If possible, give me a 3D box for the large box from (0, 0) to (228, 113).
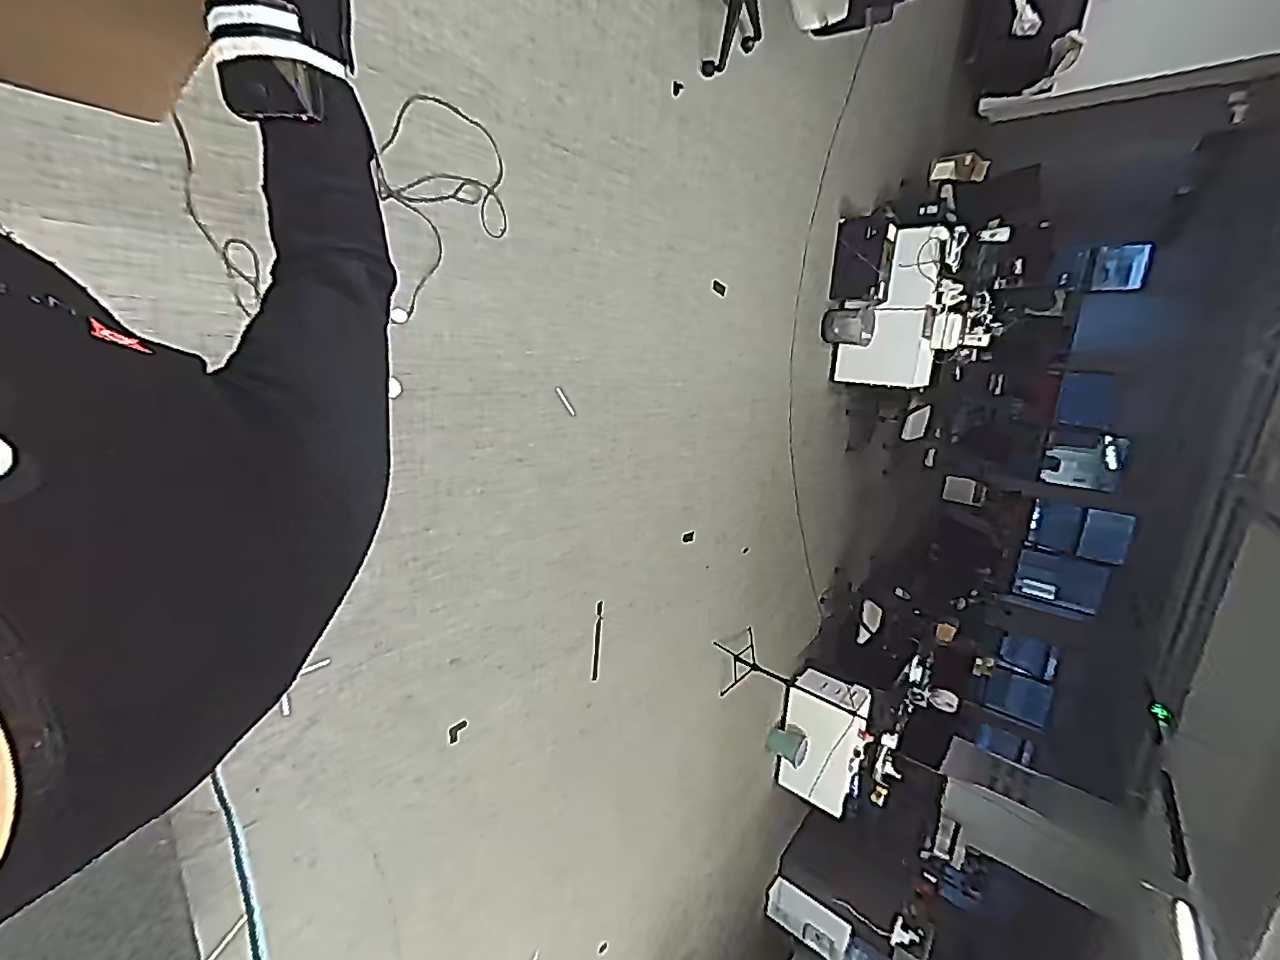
[{"bbox_3d":[-0.487,-0.455,0.259,0.408,0.320,0.320,-13,107,-49],"label":"large box"}]
